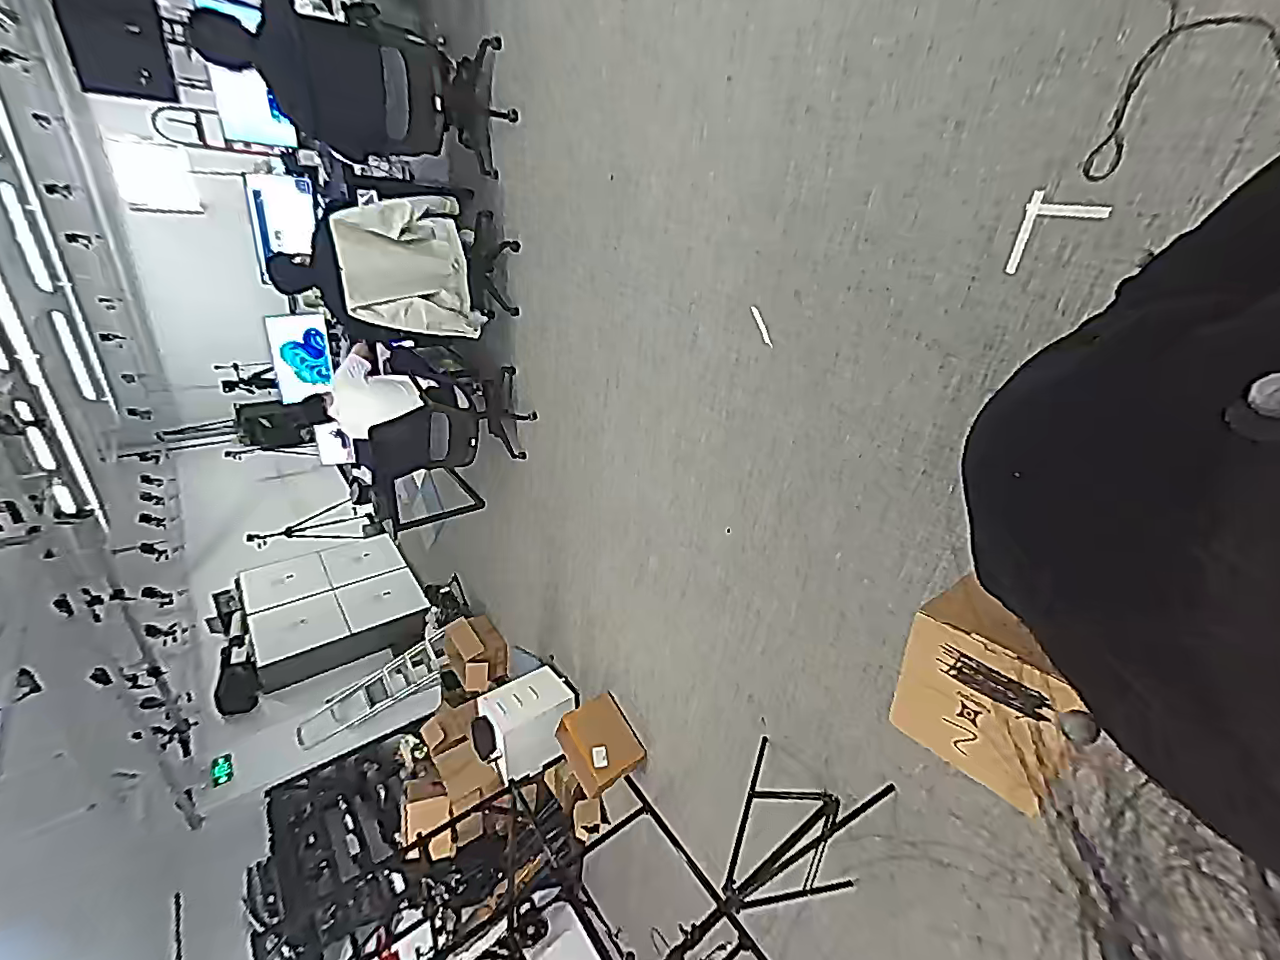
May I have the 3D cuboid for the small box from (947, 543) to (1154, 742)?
[{"bbox_3d":[0.566,0.208,0.749,0.168,0.176,0.179,28,124,47],"label":"small box"}]
